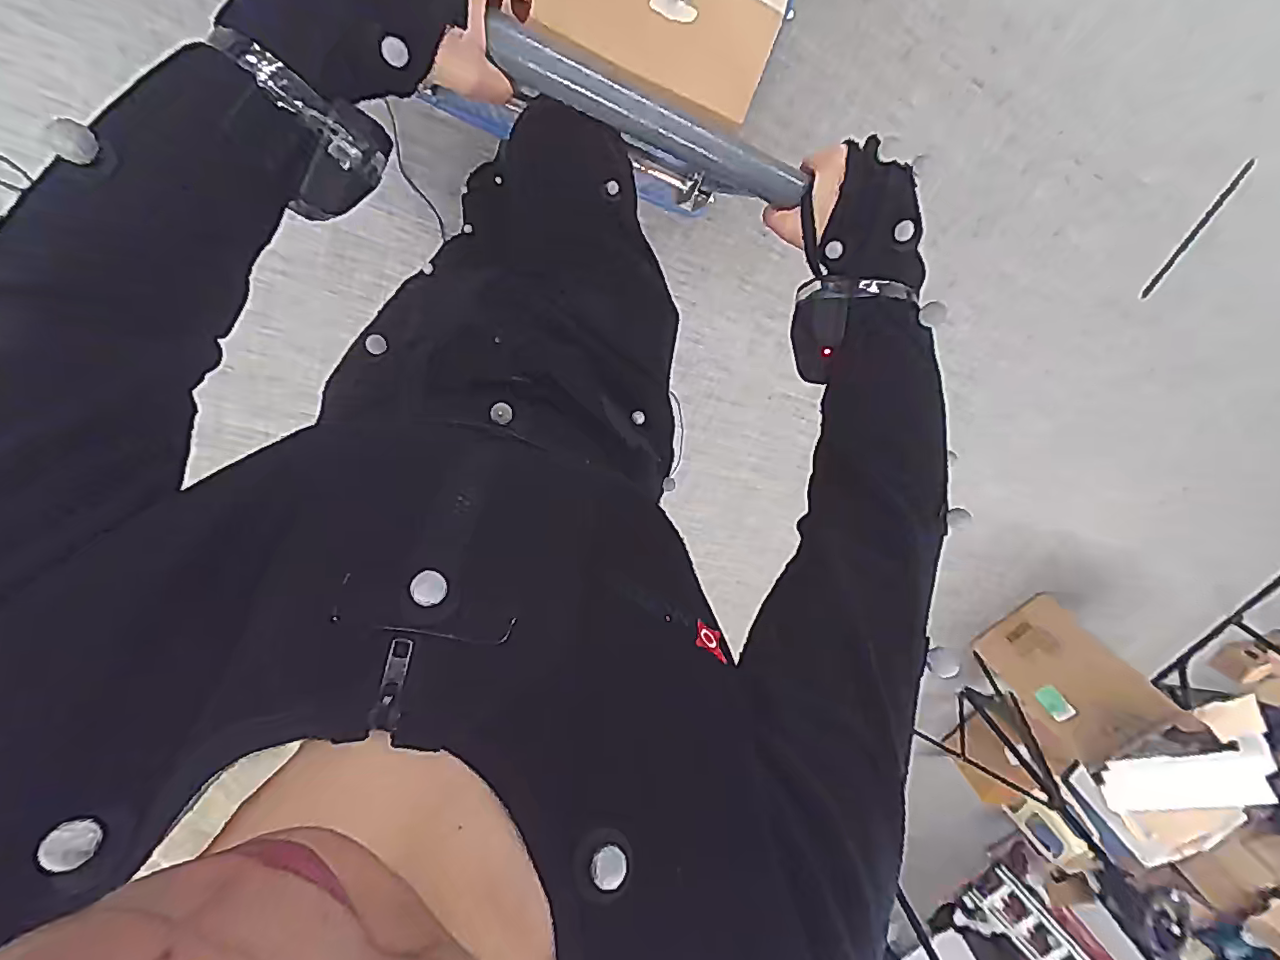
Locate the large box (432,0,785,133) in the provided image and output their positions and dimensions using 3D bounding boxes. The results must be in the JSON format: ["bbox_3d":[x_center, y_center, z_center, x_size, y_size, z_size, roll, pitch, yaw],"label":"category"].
[{"bbox_3d":[-0.040,-0.701,0.708,0.408,0.320,0.320,9,120,-22],"label":"large box"}]
